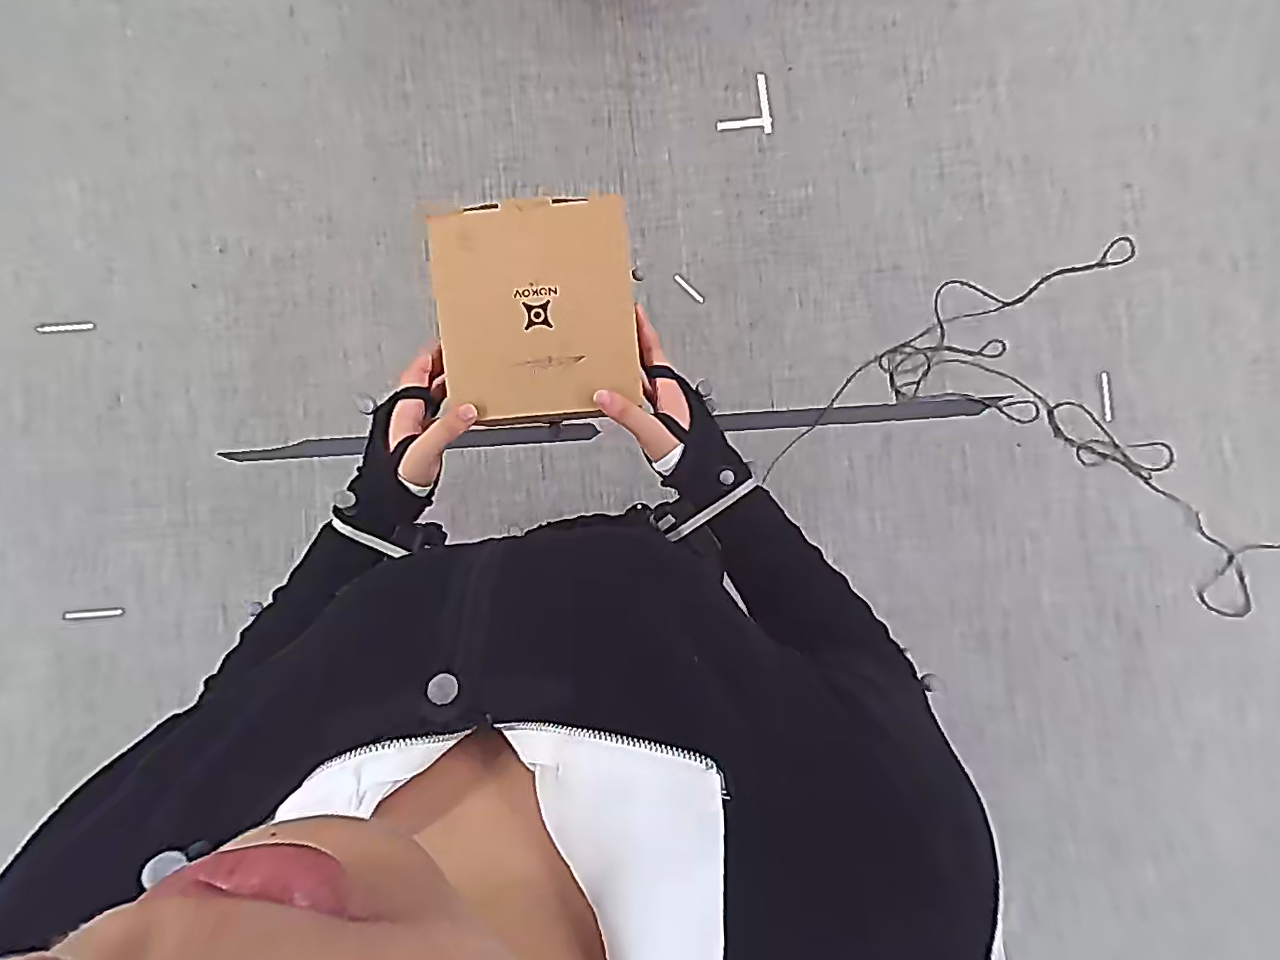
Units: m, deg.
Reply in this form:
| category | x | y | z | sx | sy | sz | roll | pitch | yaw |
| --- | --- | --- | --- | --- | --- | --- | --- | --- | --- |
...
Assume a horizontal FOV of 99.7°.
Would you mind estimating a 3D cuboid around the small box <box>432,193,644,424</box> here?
| category | x | y | z | sx | sy | sz | roll | pitch | yaw |
| --- | --- | --- | --- | --- | --- | --- | --- | --- | --- |
| small box | -0.087 | -0.151 | 0.532 | 0.168 | 0.176 | 0.179 | -5 | 94 | -1 |
